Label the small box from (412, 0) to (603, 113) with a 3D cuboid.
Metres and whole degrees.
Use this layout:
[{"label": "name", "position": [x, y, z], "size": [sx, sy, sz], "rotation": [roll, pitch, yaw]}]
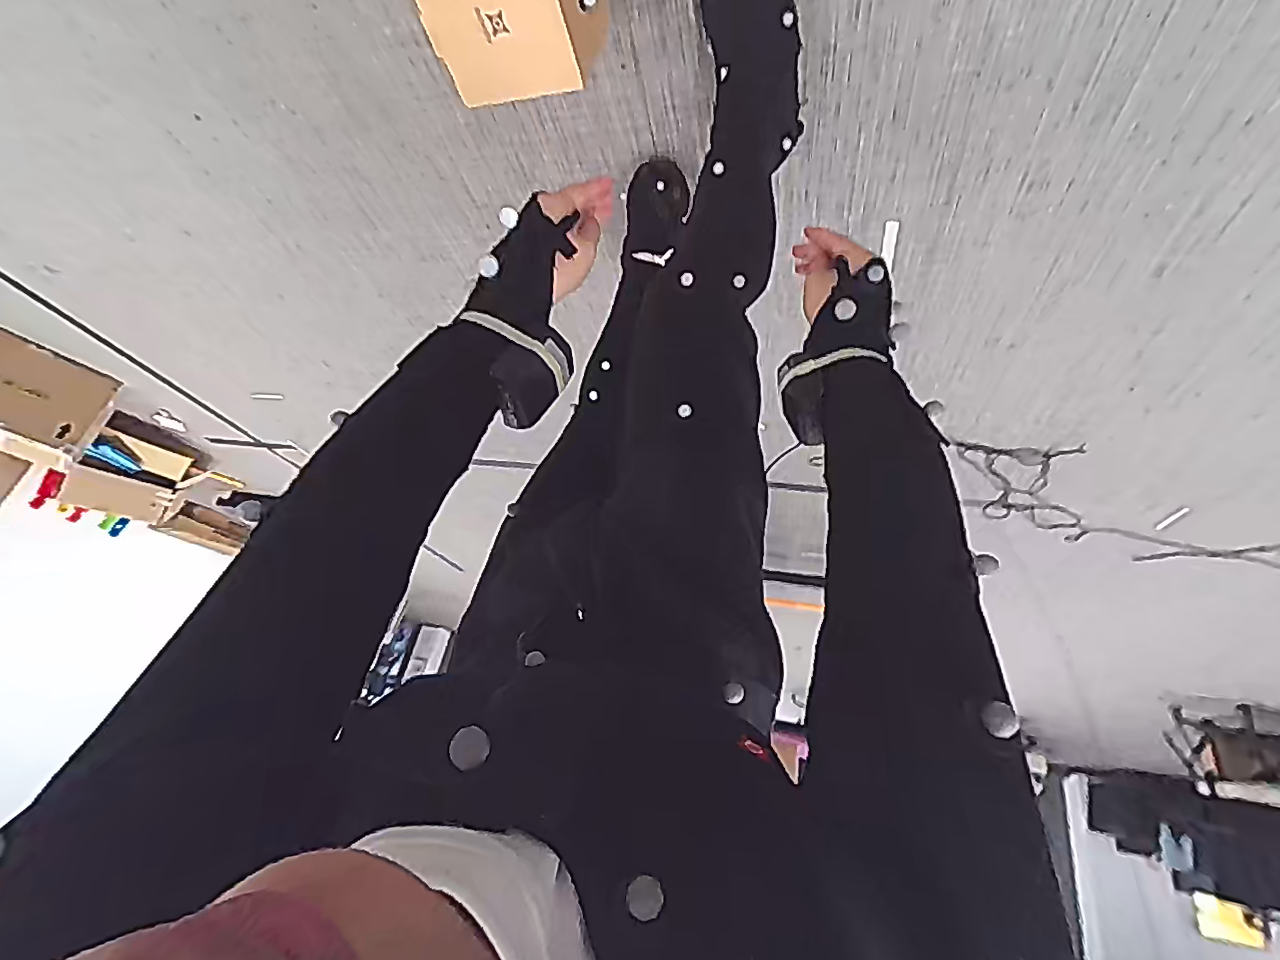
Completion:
[{"label": "small box", "position": [-0.154, -0.597, 0.667], "size": [0.179, 0.176, 0.168], "rotation": [4, 153, 17]}]
